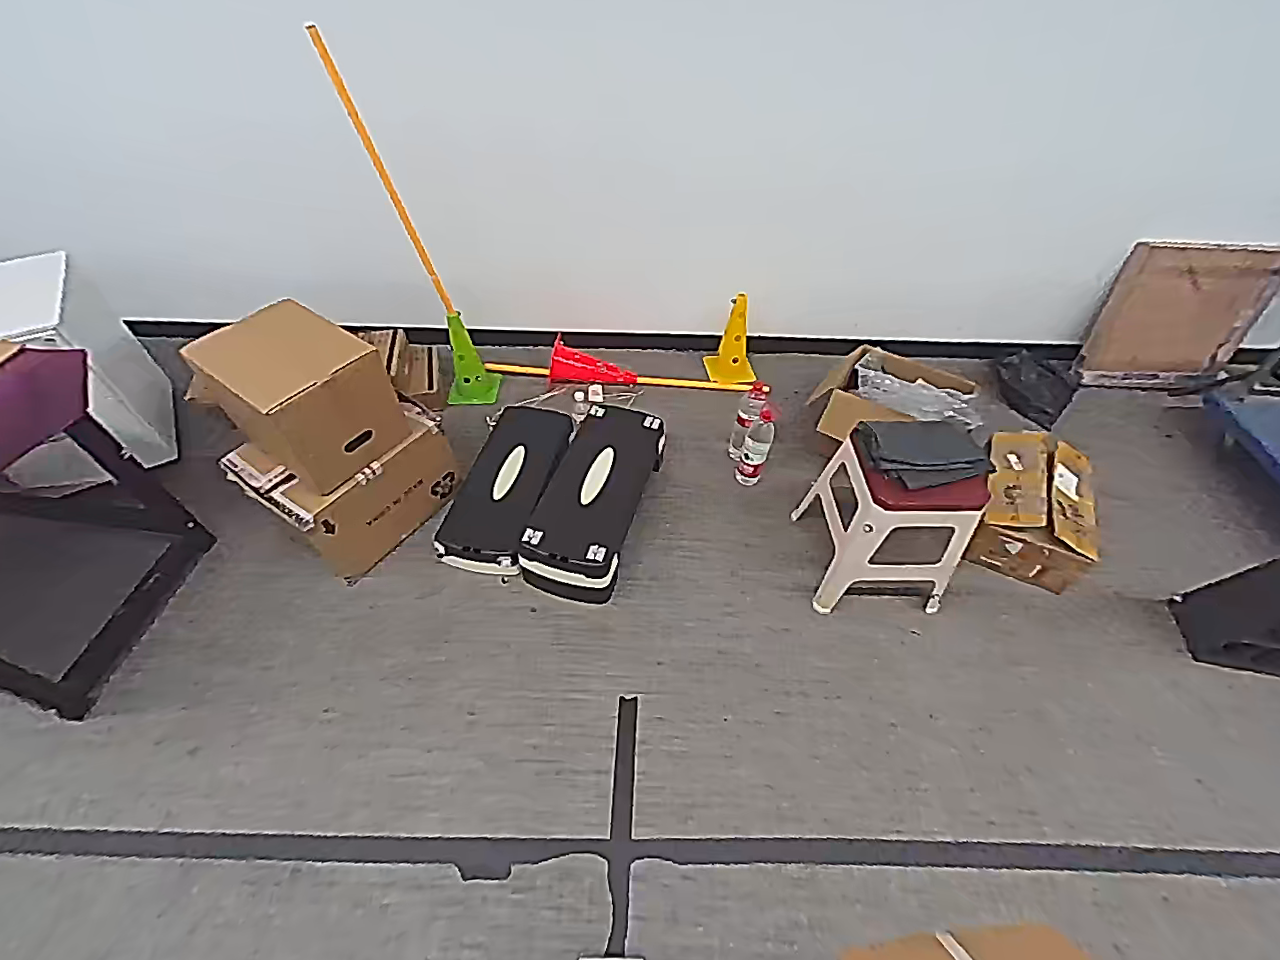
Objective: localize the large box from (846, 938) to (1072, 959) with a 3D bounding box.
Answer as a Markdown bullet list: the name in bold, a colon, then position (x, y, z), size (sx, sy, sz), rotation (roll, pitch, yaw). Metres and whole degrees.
- **large box**: position (0.452, 0.783, 0.551), size (0.320, 0.408, 0.320), rotation (-5, 82, -3)
